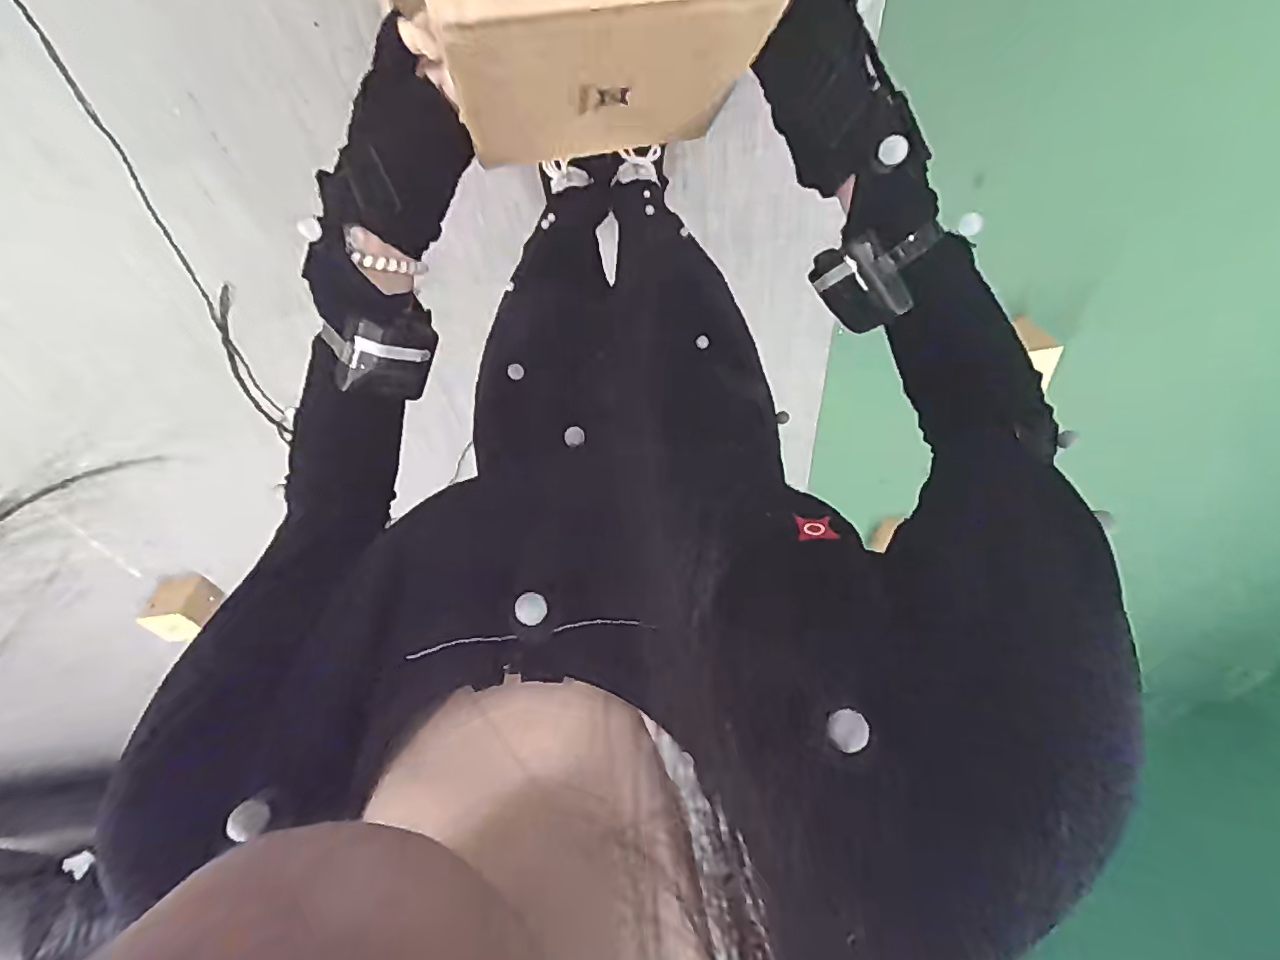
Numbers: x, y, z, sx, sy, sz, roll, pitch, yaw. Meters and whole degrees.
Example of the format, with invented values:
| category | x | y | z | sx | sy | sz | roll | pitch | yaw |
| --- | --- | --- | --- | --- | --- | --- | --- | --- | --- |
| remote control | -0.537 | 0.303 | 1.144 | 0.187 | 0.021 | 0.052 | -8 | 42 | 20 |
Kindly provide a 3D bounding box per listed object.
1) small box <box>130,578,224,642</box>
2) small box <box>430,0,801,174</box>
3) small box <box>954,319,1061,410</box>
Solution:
| category | x | y | z | sx | sy | sz | roll | pitch | yaw |
| --- | --- | --- | --- | --- | --- | --- | --- | --- | --- |
| small box | -1.738 | 0.489 | 2.043 | 0.179 | 0.176 | 0.168 | -8 | 135 | 3 |
| small box | -0.034 | -0.303 | 0.305 | 0.179 | 0.168 | 0.176 | -13 | 103 | -6 |
| small box | 1.008 | -0.322 | 1.504 | 0.168 | 0.176 | 0.179 | -9 | 133 | 3 |
